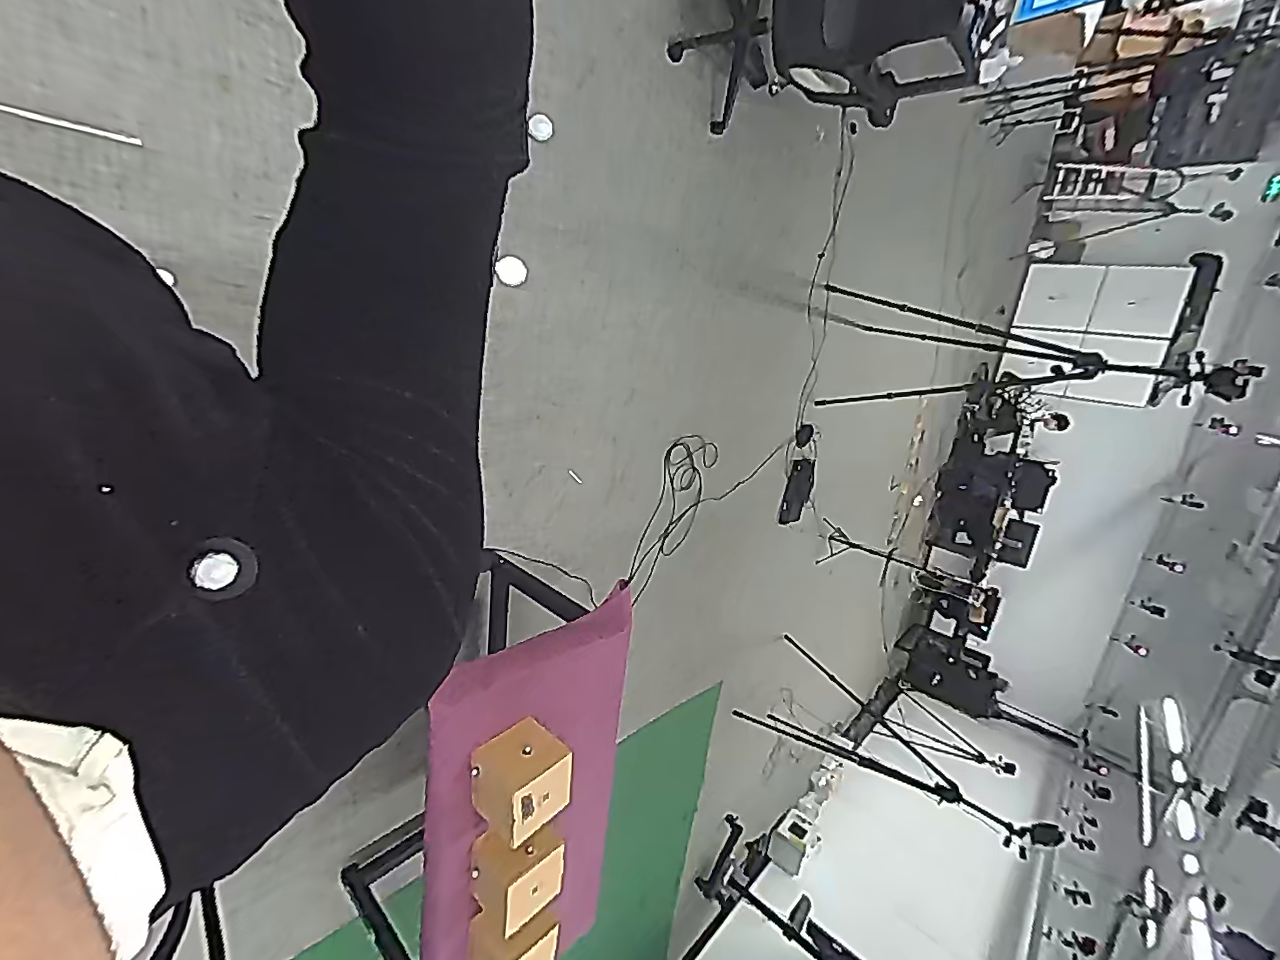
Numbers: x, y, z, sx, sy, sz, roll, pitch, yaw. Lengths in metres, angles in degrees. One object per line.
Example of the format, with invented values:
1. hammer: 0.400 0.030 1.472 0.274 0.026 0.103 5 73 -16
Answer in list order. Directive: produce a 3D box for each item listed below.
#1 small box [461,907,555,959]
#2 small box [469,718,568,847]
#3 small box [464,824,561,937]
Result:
1. small box: -0.359 1.258 1.465 0.179 0.176 0.168 -7 110 -48
2. small box: -0.297 0.721 1.307 0.179 0.176 0.168 -16 117 -47
3. small box: -0.328 0.993 1.392 0.179 0.176 0.168 -9 112 -47
